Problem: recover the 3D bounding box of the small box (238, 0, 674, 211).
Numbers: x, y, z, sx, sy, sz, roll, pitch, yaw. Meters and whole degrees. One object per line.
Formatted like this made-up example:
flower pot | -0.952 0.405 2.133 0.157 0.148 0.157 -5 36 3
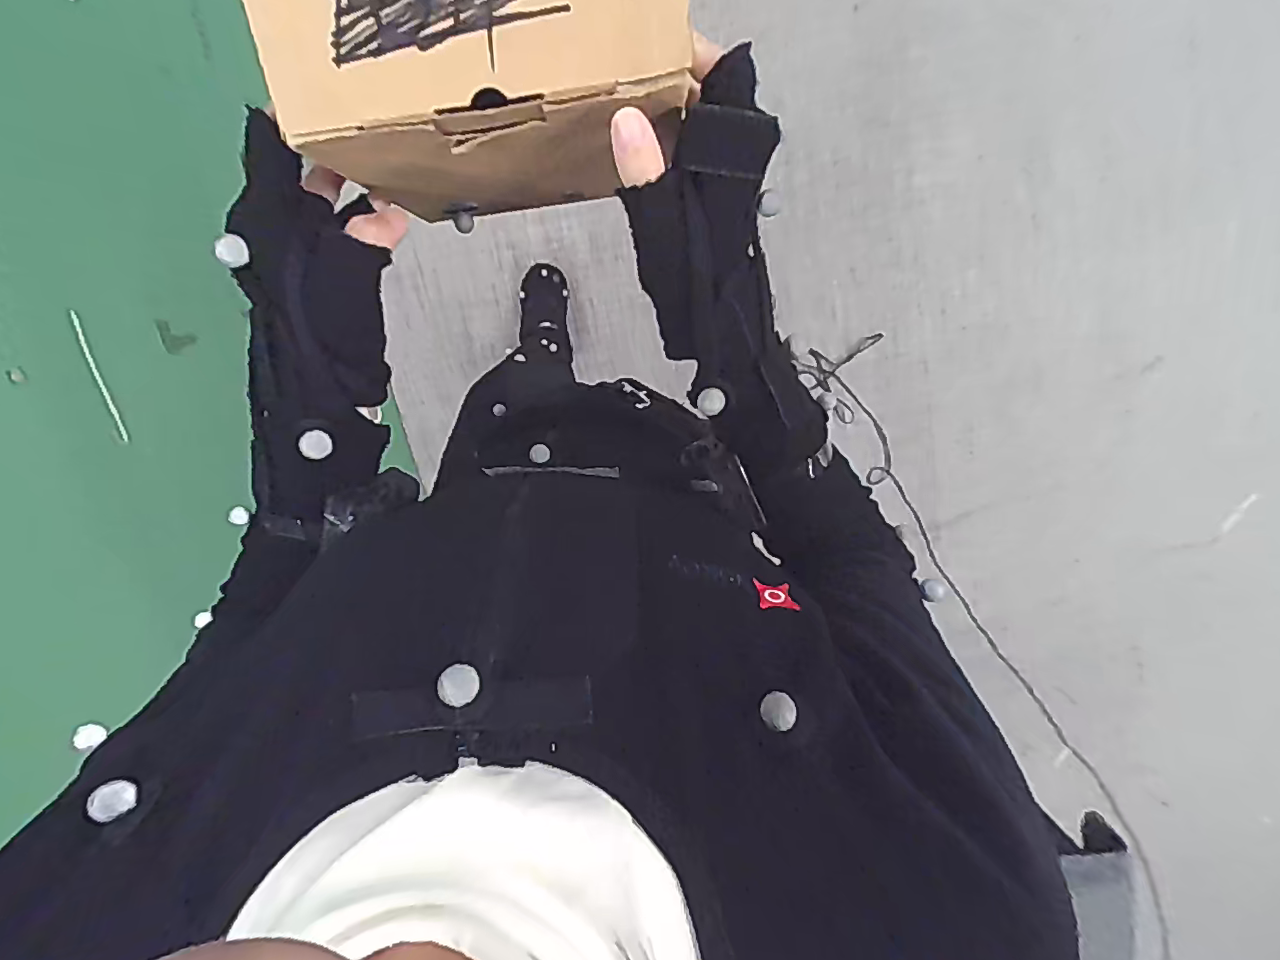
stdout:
small box | -0.076 -0.249 0.270 0.168 0.176 0.179 -8 104 2
